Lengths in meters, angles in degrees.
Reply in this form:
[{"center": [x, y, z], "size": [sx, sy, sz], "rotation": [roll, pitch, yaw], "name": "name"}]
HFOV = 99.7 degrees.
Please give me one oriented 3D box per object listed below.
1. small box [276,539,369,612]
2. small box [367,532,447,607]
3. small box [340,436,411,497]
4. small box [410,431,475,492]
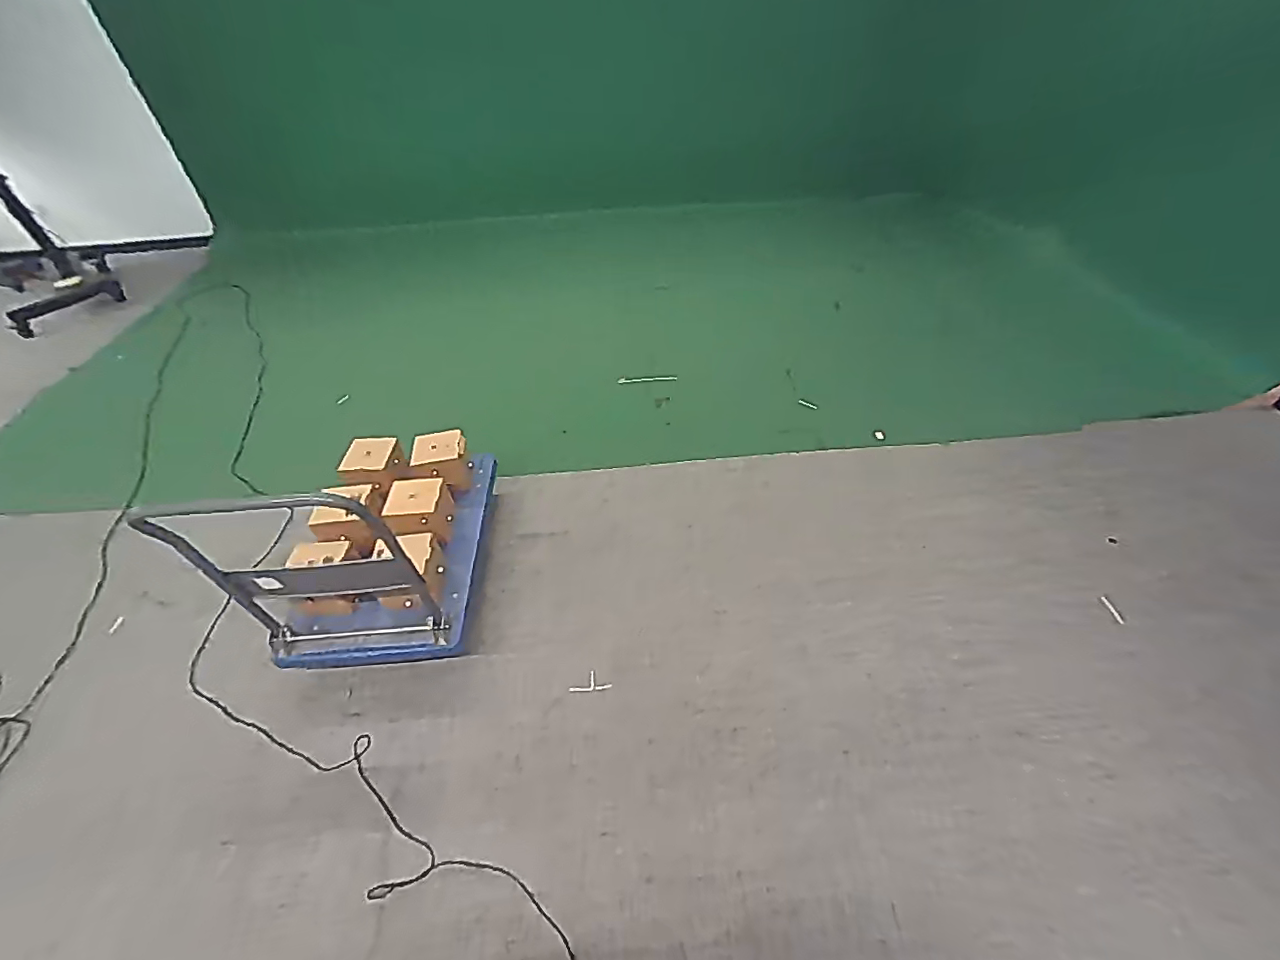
[{"center": [-0.991, 0.305, 1.710], "size": [0.179, 0.176, 0.168], "rotation": [-3, 45, 2], "name": "small box"}, {"center": [-0.728, 0.286, 1.713], "size": [0.179, 0.176, 0.168], "rotation": [-5, 45, -2], "name": "small box"}, {"center": [-0.998, -0.047, 2.061], "size": [0.168, 0.176, 0.179], "rotation": [-1, 46, 1], "name": "small box"}, {"center": [-0.746, -0.068, 2.061], "size": [0.179, 0.176, 0.168], "rotation": [-3, 48, -1], "name": "small box"}]
